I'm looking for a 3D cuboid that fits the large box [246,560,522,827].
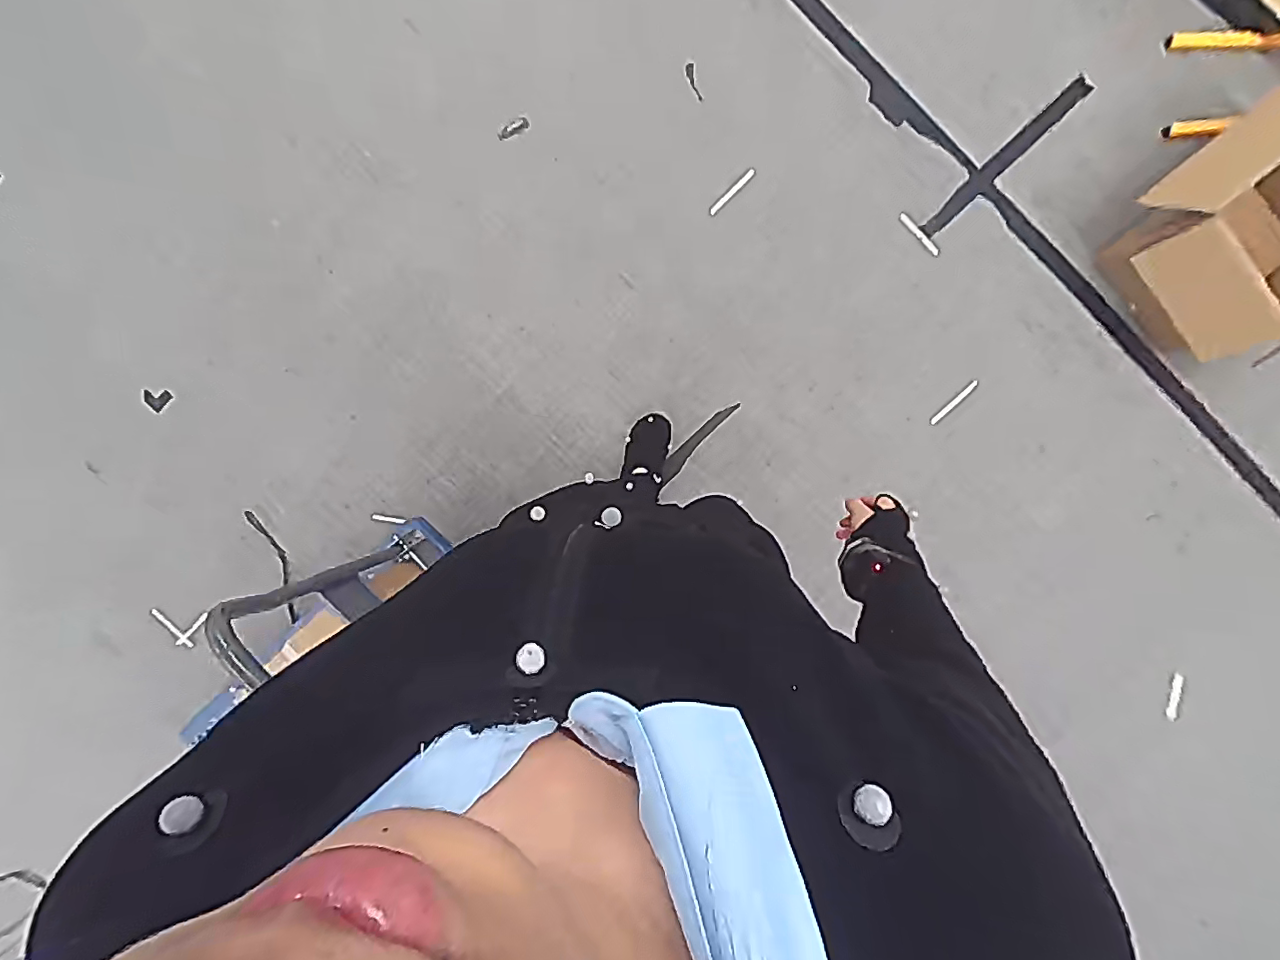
[{"bbox_3d":[-0.543,0.453,1.228,0.320,0.320,0.408,-42,91,4],"label":"large box"}]
